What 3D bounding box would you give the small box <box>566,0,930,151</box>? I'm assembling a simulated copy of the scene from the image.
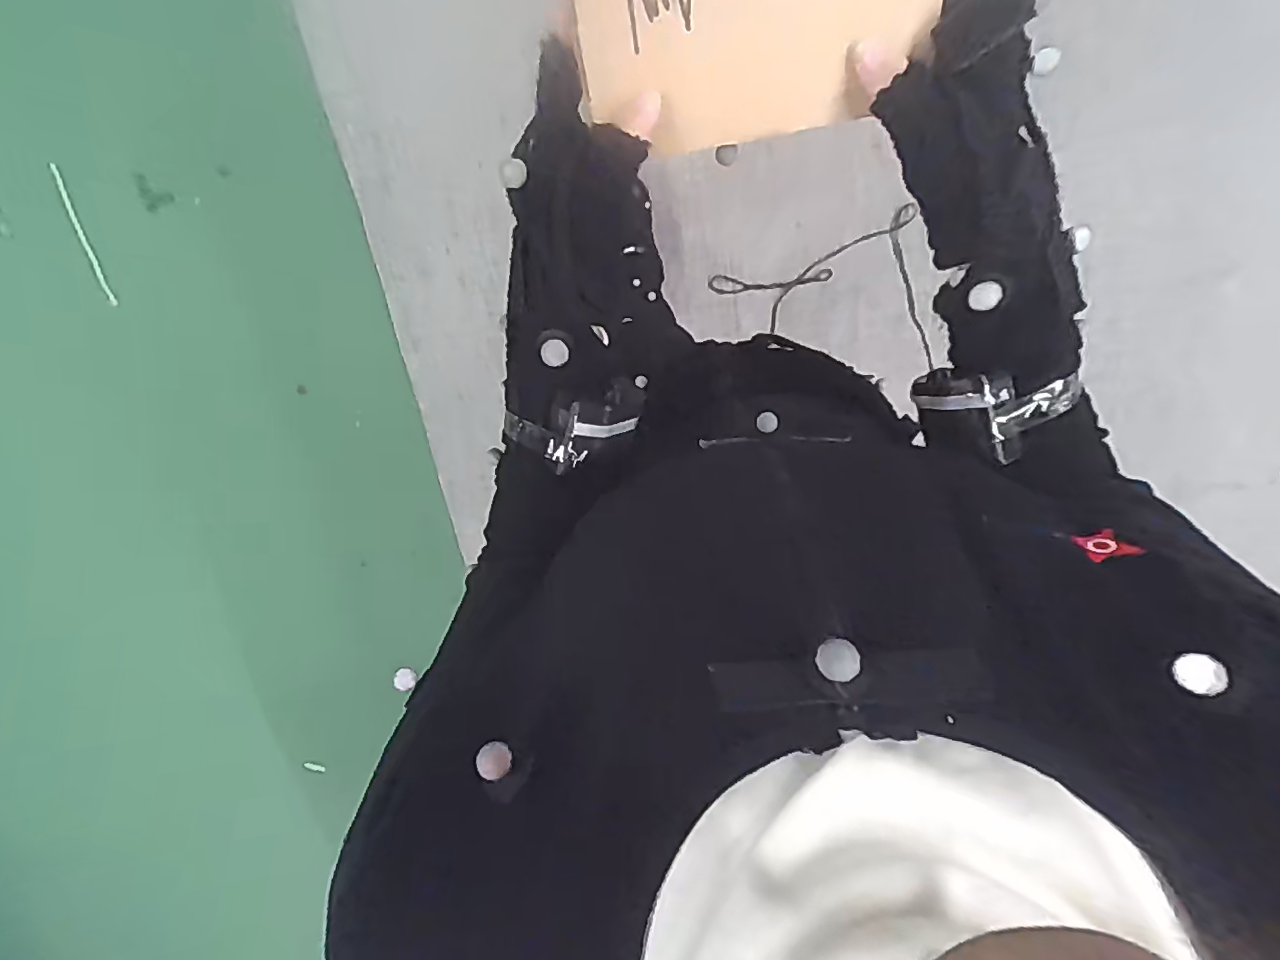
[{"bbox_3d":[0.047,-0.298,0.310,0.179,0.176,0.168,-8,124,4],"label":"small box"}]
